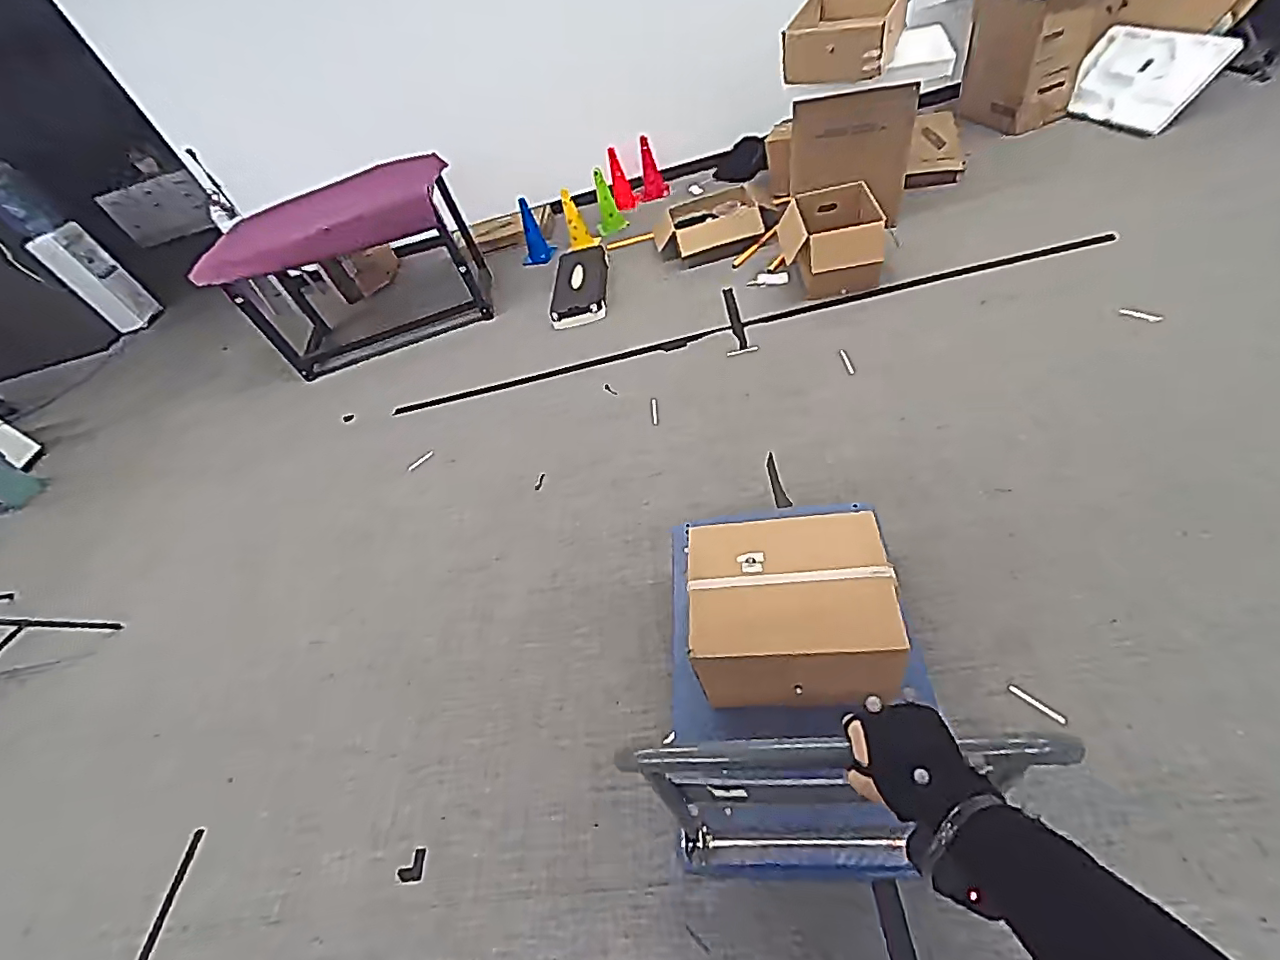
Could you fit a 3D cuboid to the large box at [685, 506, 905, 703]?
[{"bbox_3d":[0.330,0.292,1.213,0.408,0.320,0.320,-8,48,13],"label":"large box"}]
